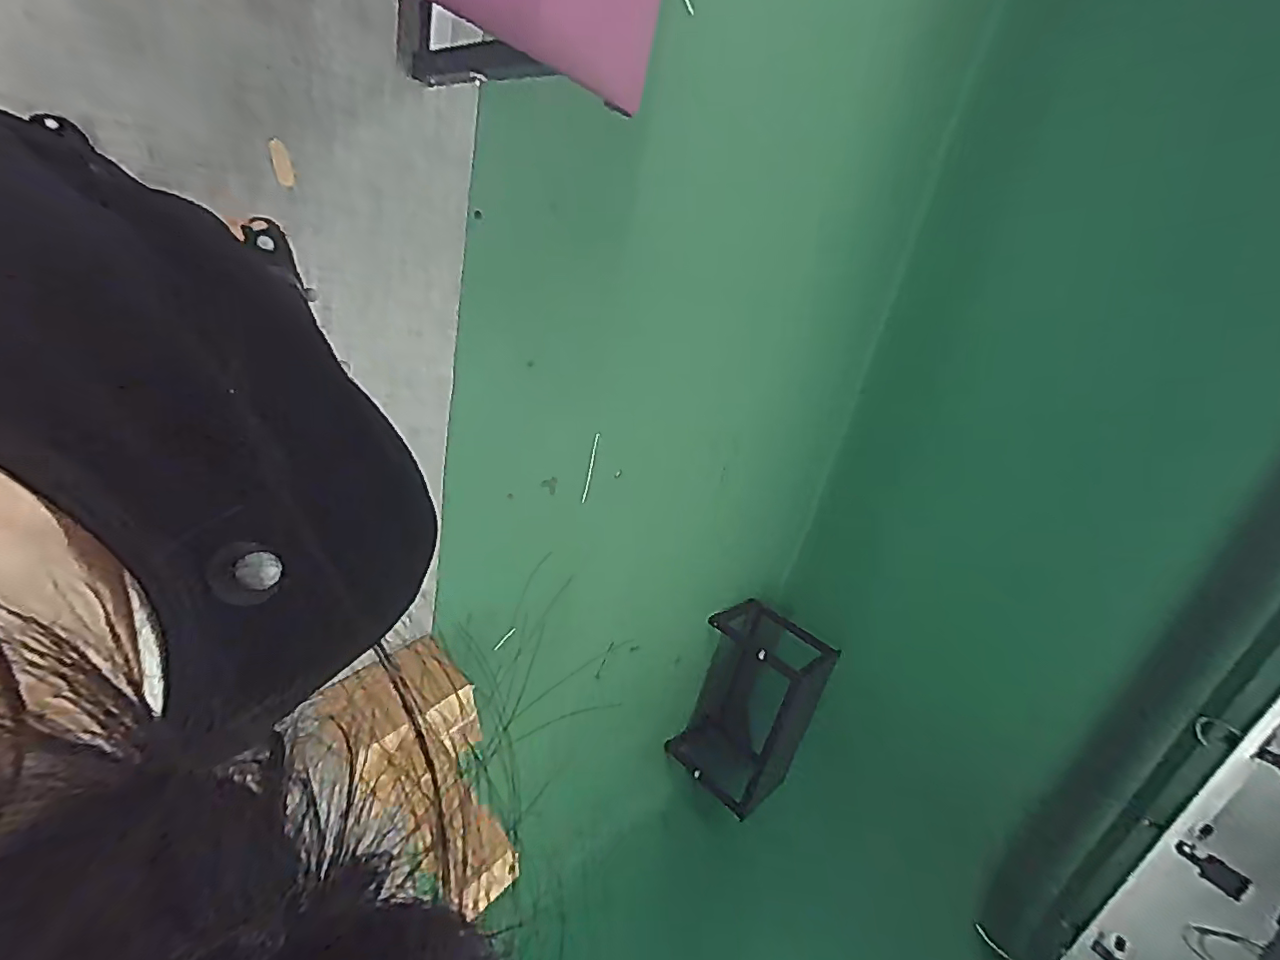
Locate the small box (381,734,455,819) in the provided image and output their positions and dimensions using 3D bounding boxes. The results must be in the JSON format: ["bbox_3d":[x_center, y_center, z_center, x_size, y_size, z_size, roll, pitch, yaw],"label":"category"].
[{"bbox_3d":[-0.681,0.927,1.680,0.168,0.176,0.179,-25,130,-38],"label":"small box"}]

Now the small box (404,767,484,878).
[{"bbox_3d":[-0.569,0.994,1.581,0.179,0.176,0.168,-26,131,-38],"label":"small box"}]

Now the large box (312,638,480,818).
[{"bbox_3d":[-0.823,0.831,1.859,0.408,0.320,0.320,-27,132,-39],"label":"large box"}]

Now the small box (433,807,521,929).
[{"bbox_3d":[-0.452,1.058,1.485,0.179,0.176,0.168,-24,130,-37],"label":"small box"}]
